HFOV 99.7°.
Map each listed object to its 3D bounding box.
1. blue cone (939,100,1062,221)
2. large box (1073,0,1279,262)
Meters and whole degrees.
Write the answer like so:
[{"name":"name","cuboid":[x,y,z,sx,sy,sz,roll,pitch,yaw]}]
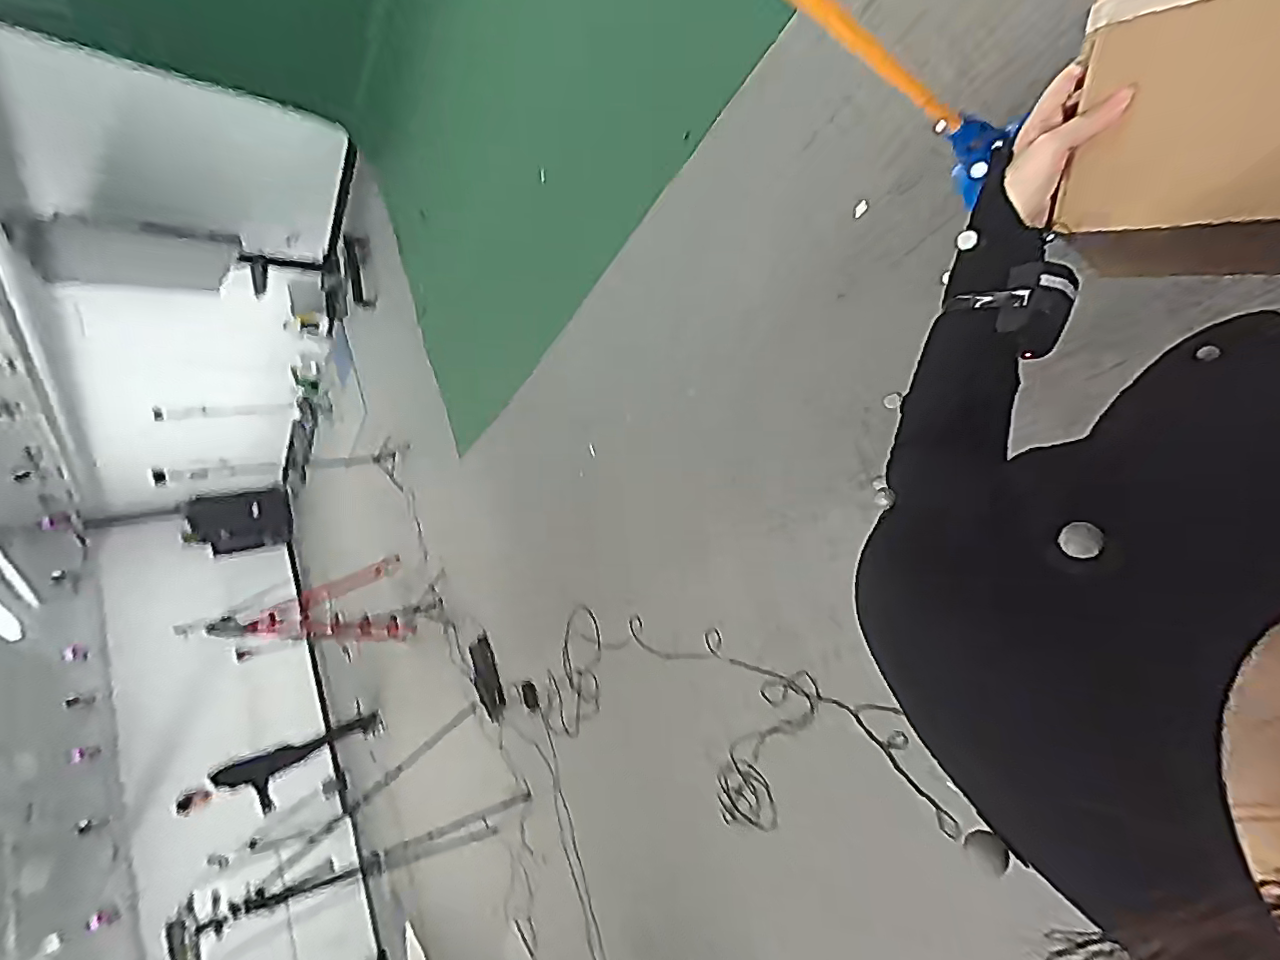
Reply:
[{"name":"blue cone","cuboid":[0.724,-0.710,1.144,0.193,0.380,0.192,-26,76,47]},{"name":"large box","cuboid":[0.604,-0.345,0.378,0.408,0.320,0.320,18,112,41]}]
